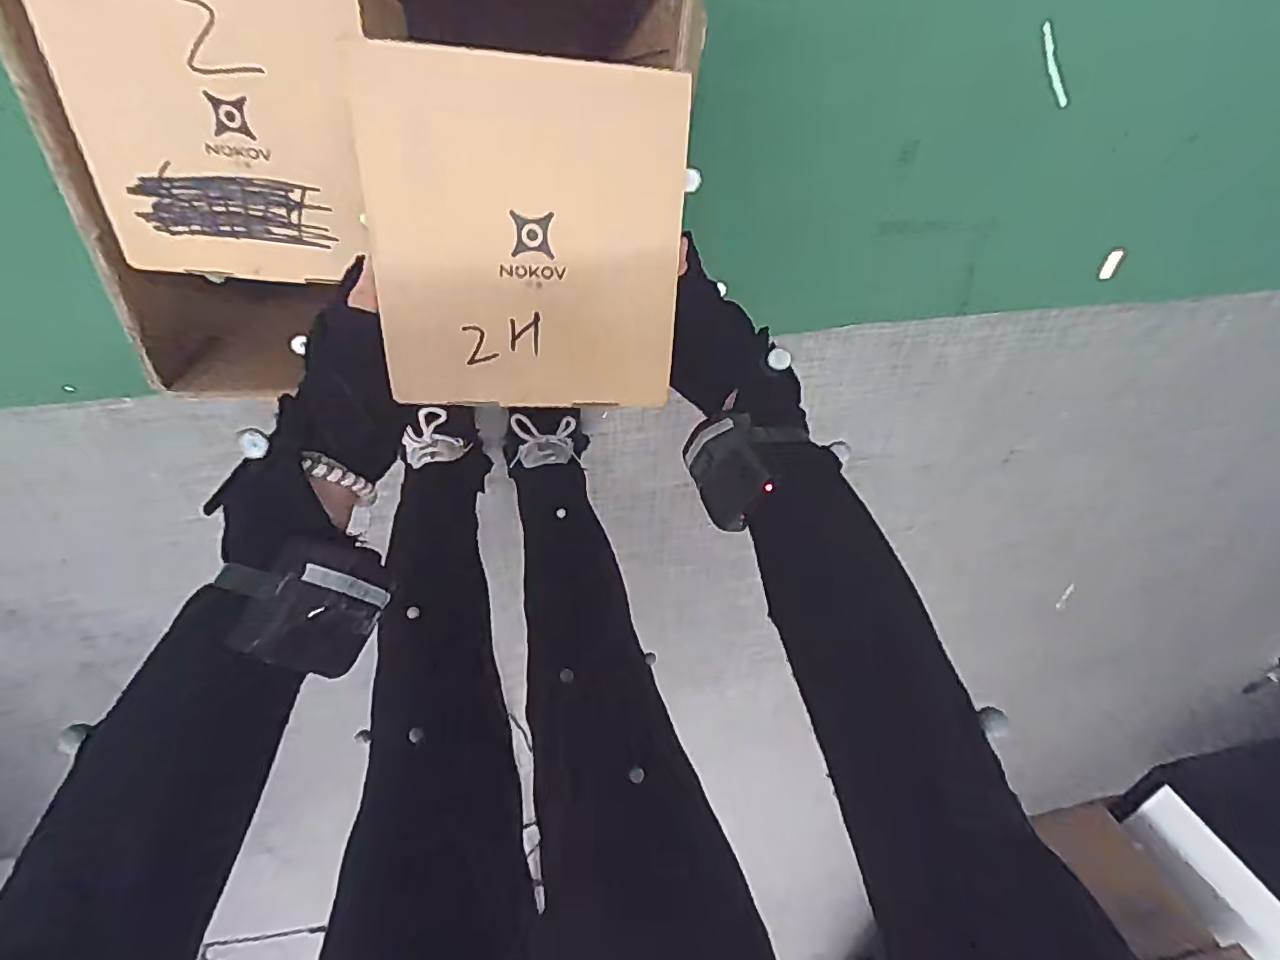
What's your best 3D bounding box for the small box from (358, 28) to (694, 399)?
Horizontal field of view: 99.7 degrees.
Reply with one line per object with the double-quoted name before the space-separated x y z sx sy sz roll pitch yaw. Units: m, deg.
"small box" -0.069 -0.163 0.369 0.168 0.176 0.179 0 115 -9
